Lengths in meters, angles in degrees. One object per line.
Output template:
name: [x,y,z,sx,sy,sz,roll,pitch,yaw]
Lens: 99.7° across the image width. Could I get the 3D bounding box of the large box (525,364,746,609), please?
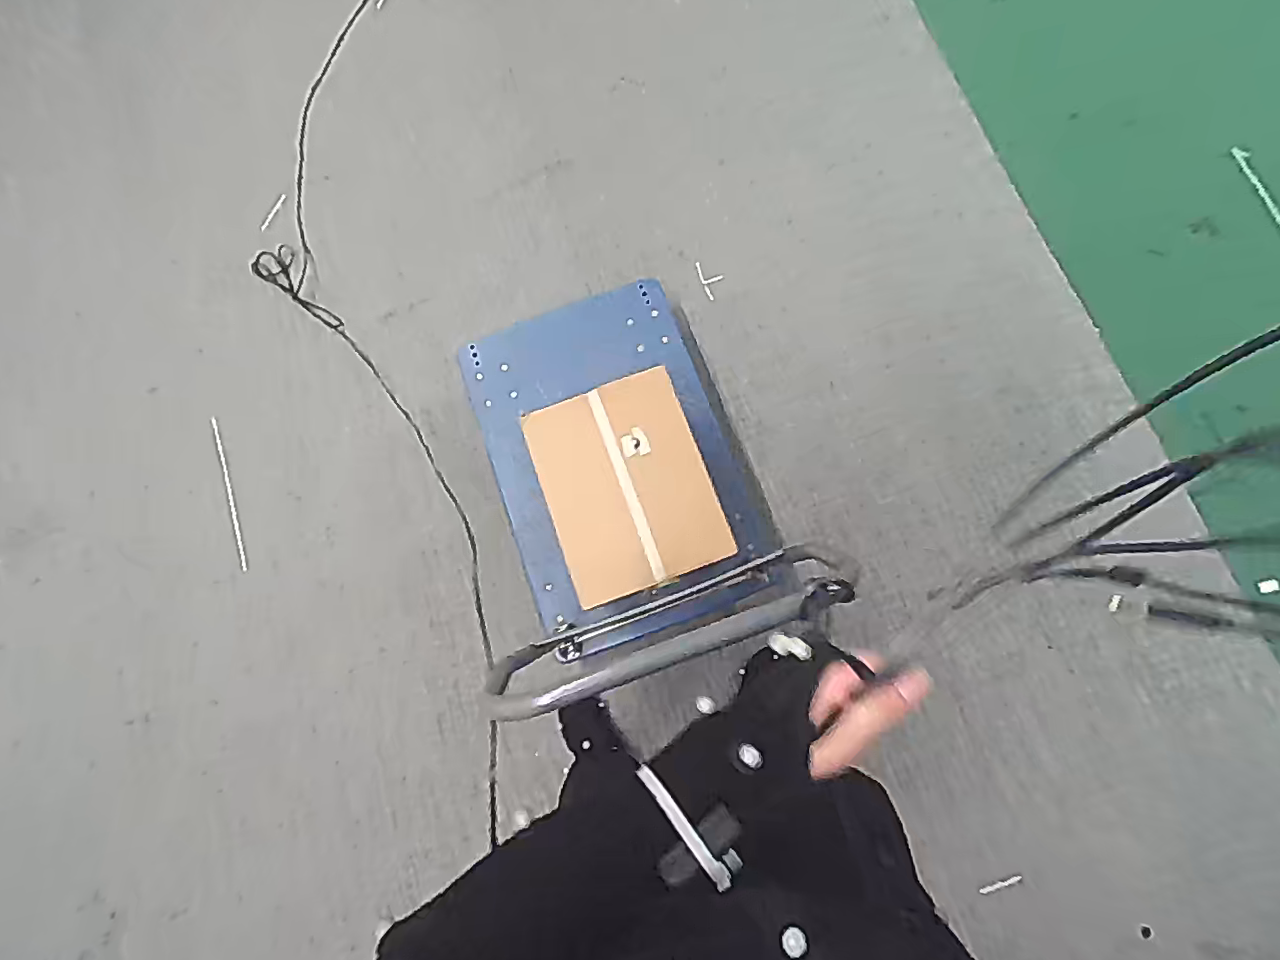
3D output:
large box: [-0.006,0.032,1.176,0.320,0.320,0.408,-21,78,-2]
